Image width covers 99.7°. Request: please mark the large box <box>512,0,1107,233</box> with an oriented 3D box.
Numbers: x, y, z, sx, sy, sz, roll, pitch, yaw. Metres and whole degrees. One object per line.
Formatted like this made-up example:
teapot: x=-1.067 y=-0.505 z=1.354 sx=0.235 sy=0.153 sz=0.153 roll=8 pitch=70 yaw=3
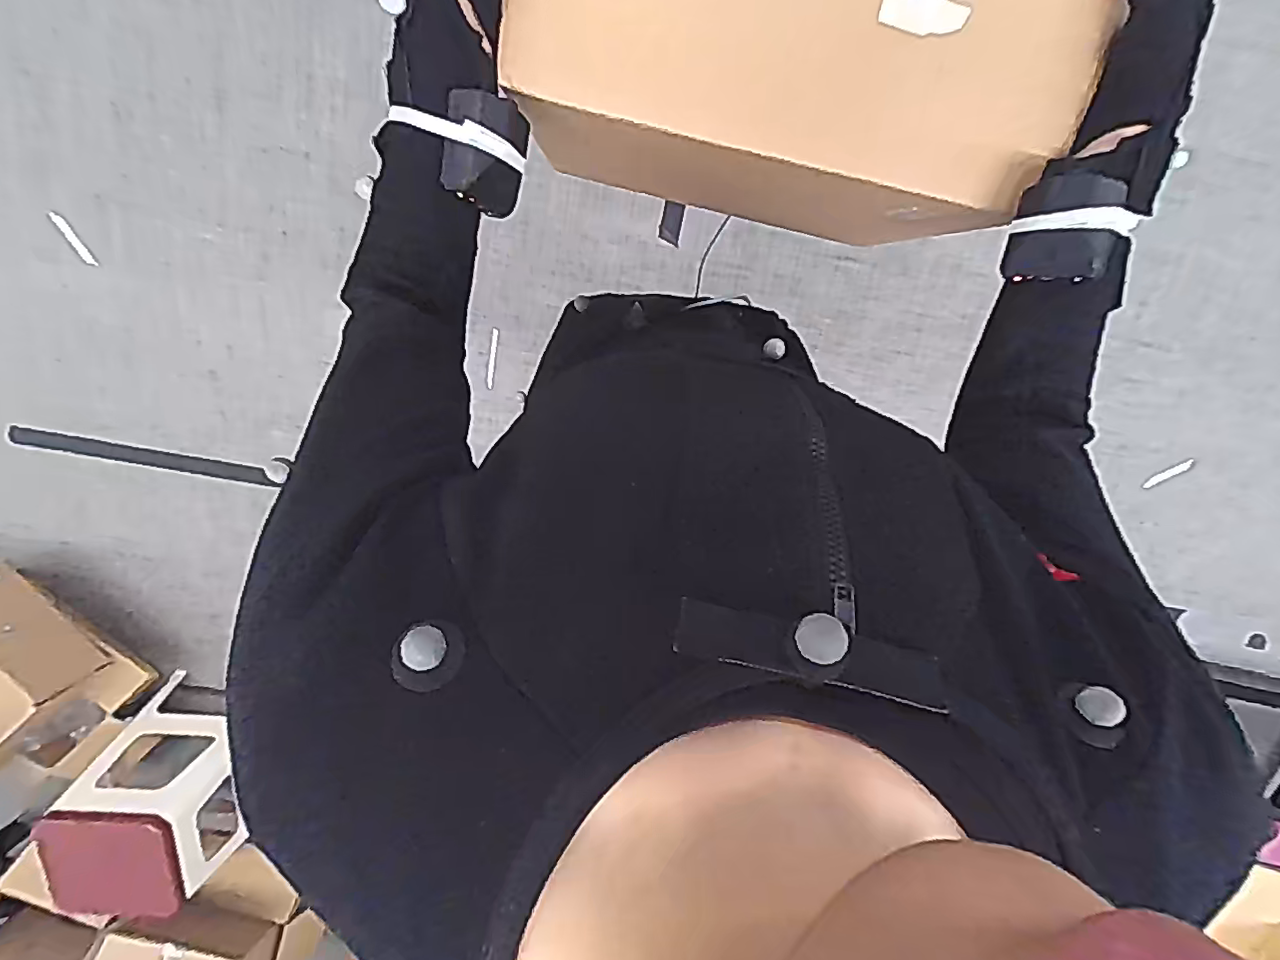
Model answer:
large box: x=0.123 y=-0.434 z=0.483 sx=0.408 sy=0.320 sz=0.320 roll=10 pitch=111 yaw=-6
